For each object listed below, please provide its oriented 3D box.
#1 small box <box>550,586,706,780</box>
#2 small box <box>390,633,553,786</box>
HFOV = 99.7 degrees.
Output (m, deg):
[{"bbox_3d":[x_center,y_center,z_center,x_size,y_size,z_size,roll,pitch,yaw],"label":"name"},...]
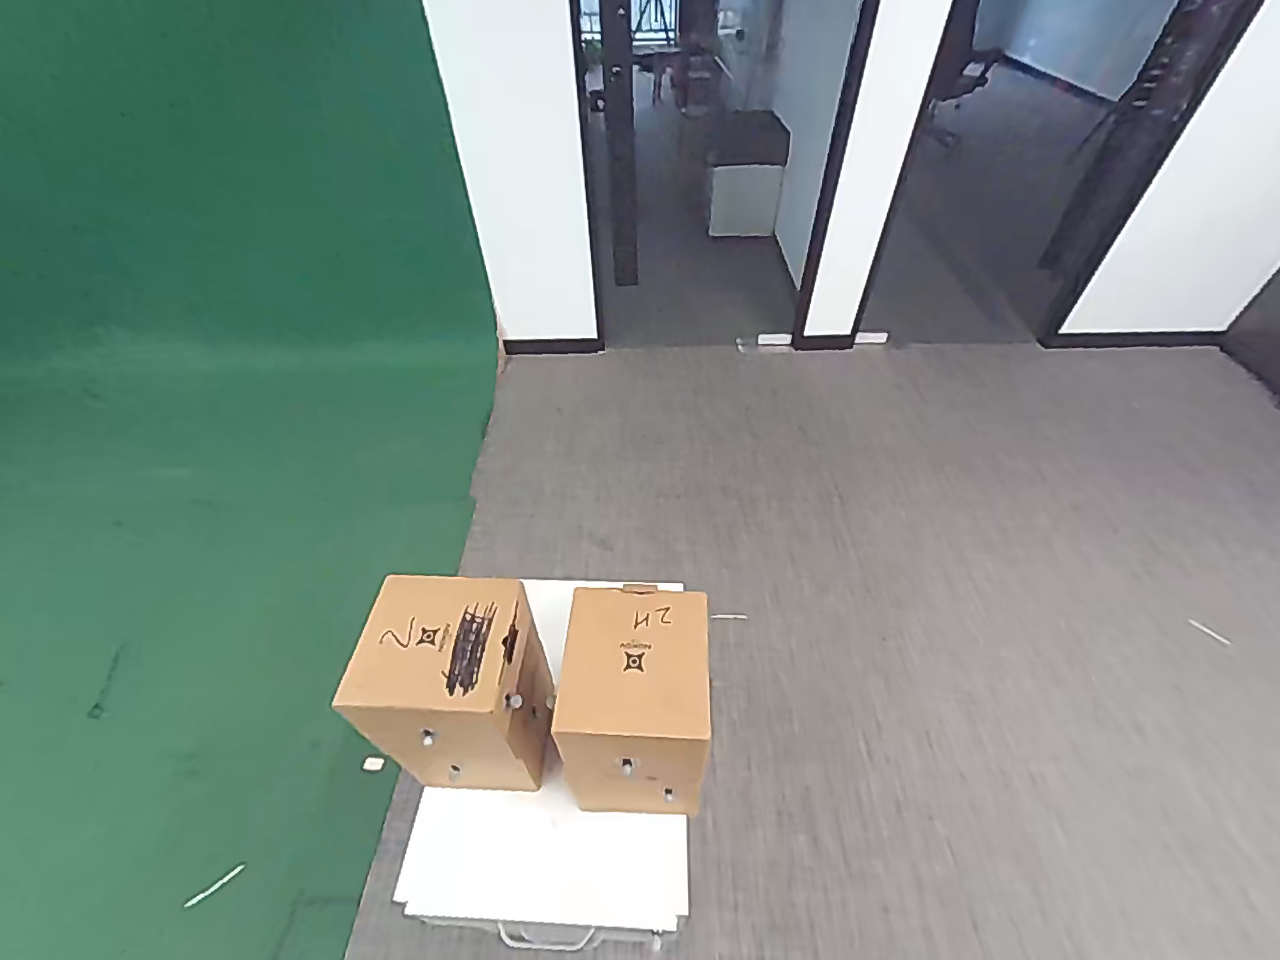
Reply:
[{"bbox_3d":[-0.006,0.253,0.667,0.168,0.176,0.179,3,47,3],"label":"small box"},{"bbox_3d":[-0.236,0.346,0.809,0.179,0.176,0.168,2,48,1],"label":"small box"}]
